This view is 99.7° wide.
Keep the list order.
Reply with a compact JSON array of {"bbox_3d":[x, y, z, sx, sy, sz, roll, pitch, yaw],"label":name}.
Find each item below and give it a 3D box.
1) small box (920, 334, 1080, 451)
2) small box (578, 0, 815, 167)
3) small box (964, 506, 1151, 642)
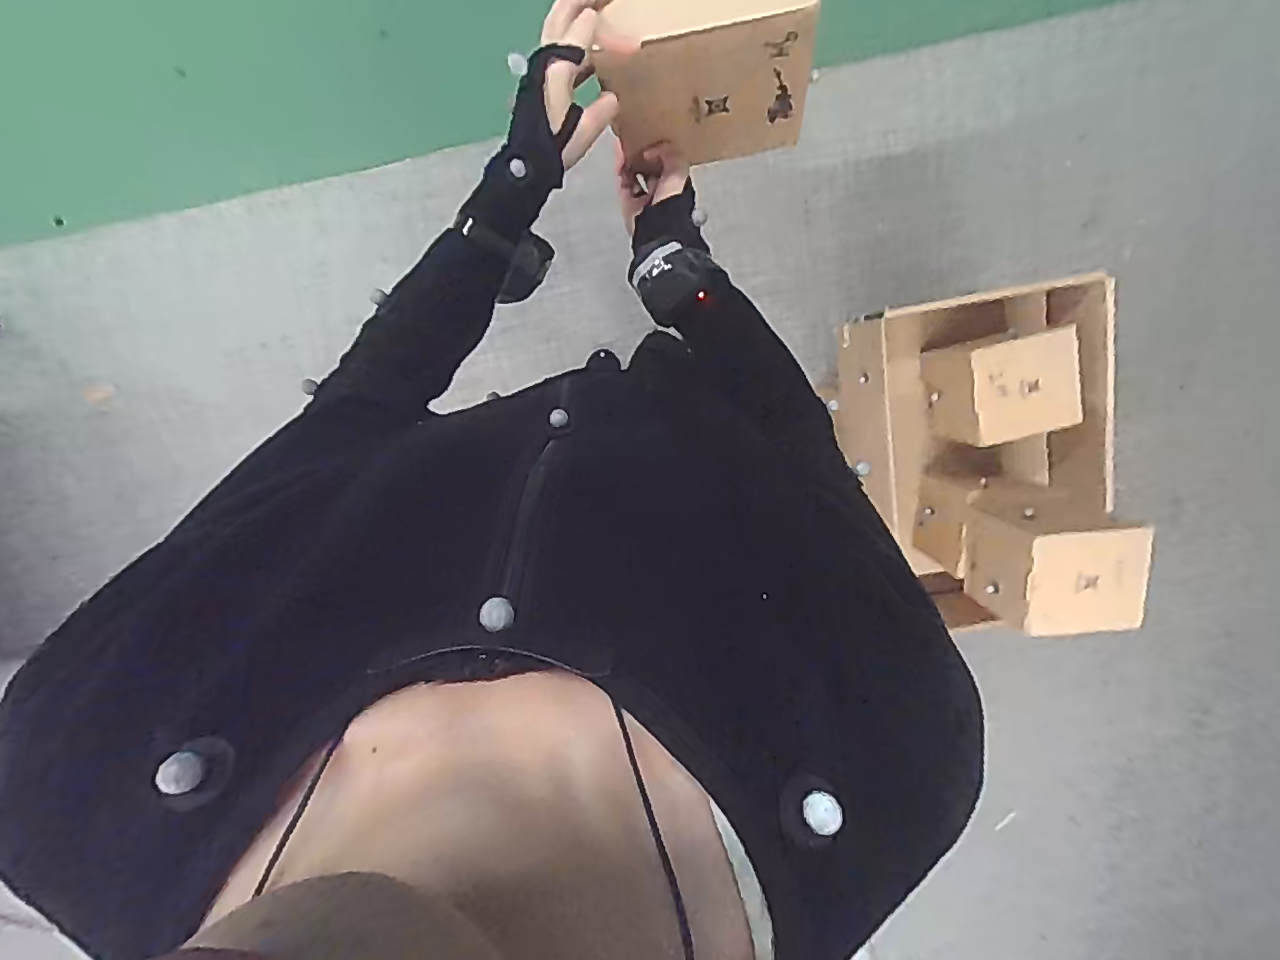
[{"bbox_3d":[0.641,-0.162,0.976,0.179,0.176,0.168,-13,102,3],"label":"small box"},{"bbox_3d":[0.051,-0.415,0.475,0.179,0.168,0.176,-2,90,11],"label":"small box"},{"bbox_3d":[0.659,0.145,0.879,0.179,0.176,0.168,-4,103,0],"label":"small box"}]
